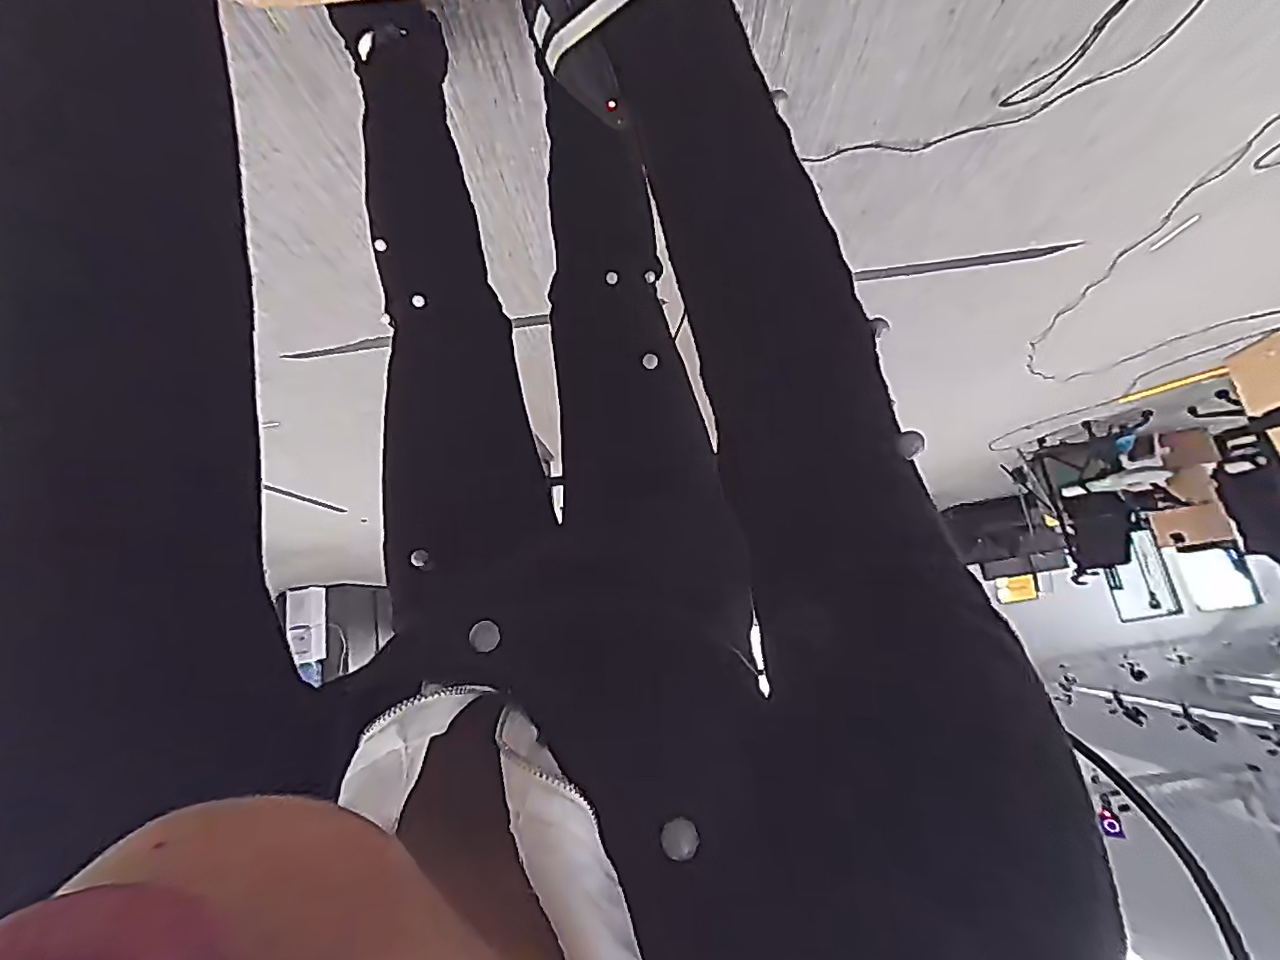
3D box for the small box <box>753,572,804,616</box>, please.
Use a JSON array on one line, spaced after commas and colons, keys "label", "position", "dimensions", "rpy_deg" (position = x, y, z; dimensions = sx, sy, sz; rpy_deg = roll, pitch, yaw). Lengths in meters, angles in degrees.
[{"label": "small box", "position": [0.593, 0.491, 2.337], "dimensions": [0.168, 0.176, 0.179], "rpy_deg": [-8, 167, 2]}]
